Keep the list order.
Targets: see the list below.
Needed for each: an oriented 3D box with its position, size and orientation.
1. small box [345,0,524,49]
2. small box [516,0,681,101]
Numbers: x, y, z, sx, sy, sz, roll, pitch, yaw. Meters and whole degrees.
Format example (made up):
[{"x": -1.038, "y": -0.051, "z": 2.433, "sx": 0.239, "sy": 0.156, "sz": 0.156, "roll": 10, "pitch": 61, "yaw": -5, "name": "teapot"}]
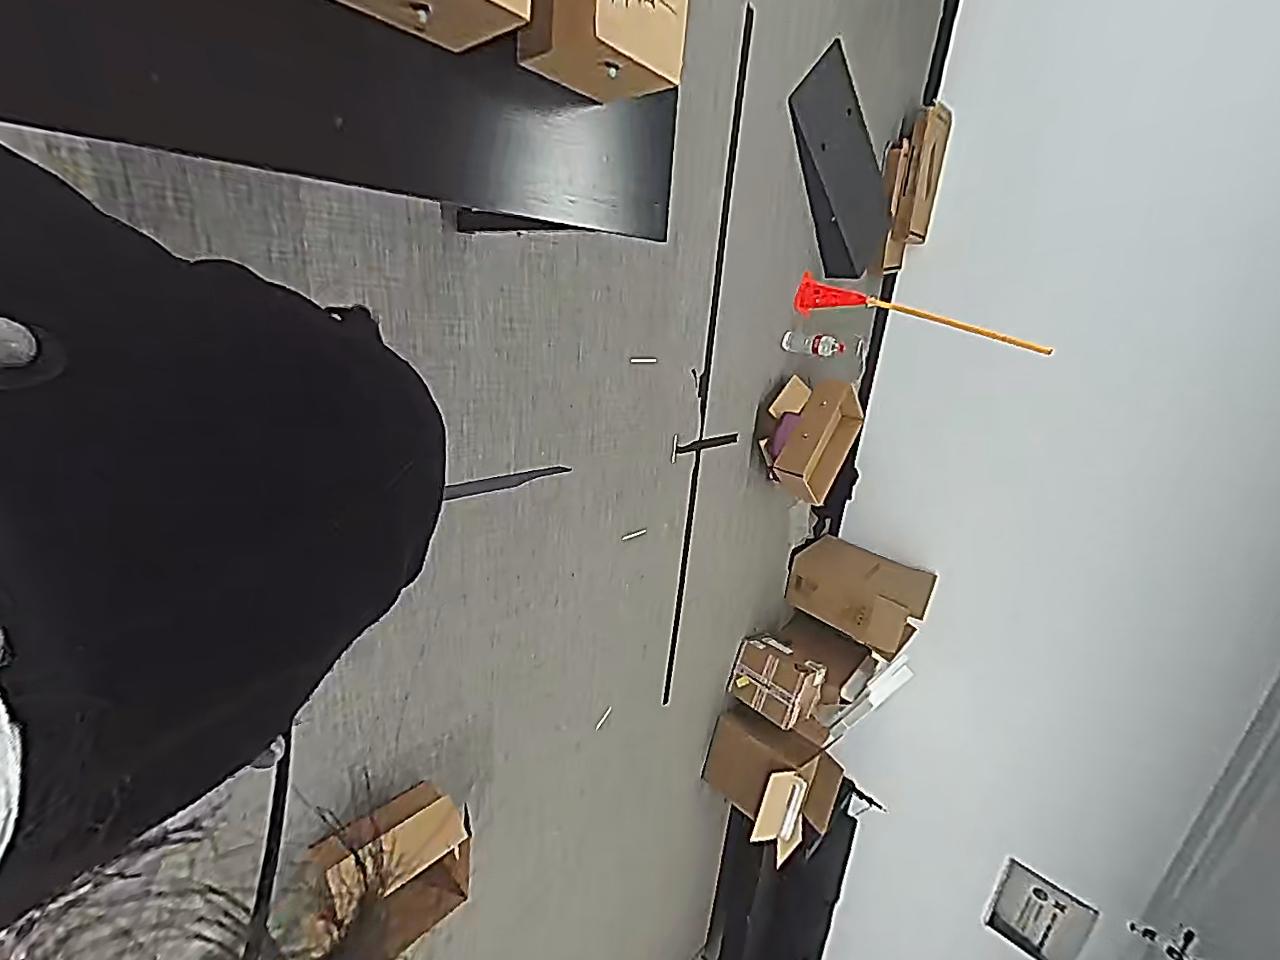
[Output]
[{"x": -0.241, "y": -0.617, "z": 0.594, "sx": 0.168, "sy": 0.176, "sz": 0.179, "roll": -13, "pitch": 116, "yaw": -46, "name": "small box"}, {"x": -0.061, "y": -0.673, "z": 0.775, "sx": 0.179, "sy": 0.176, "sz": 0.168, "roll": -13, "pitch": 116, "yaw": -46, "name": "small box"}]
